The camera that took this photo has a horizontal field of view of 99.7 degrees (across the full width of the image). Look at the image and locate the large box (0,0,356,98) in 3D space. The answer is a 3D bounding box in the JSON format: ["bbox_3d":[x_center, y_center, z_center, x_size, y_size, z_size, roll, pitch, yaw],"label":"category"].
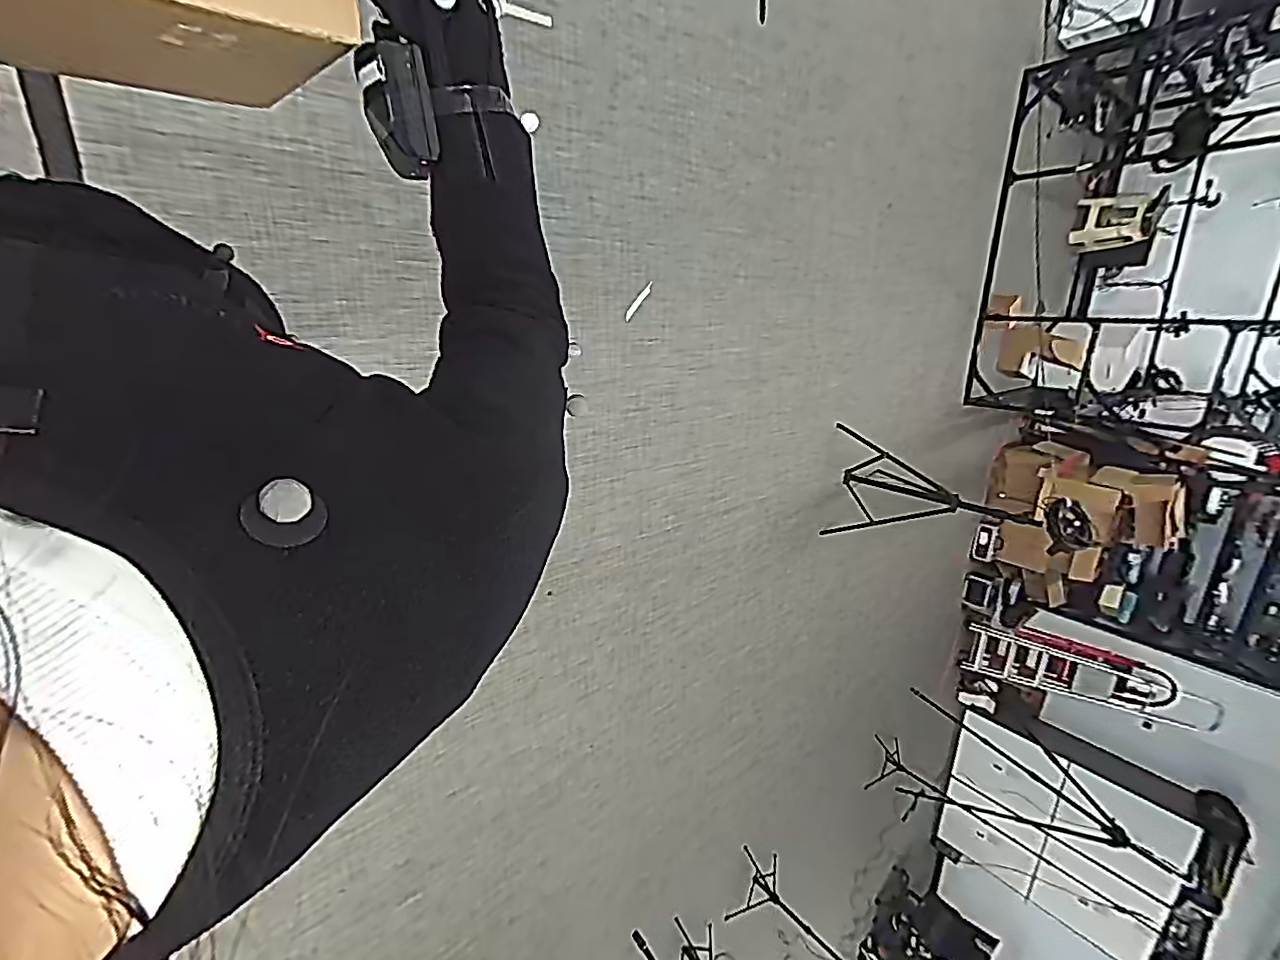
[{"bbox_3d":[-0.404,-0.400,0.232,0.408,0.320,0.320,-17,123,-38],"label":"large box"}]
